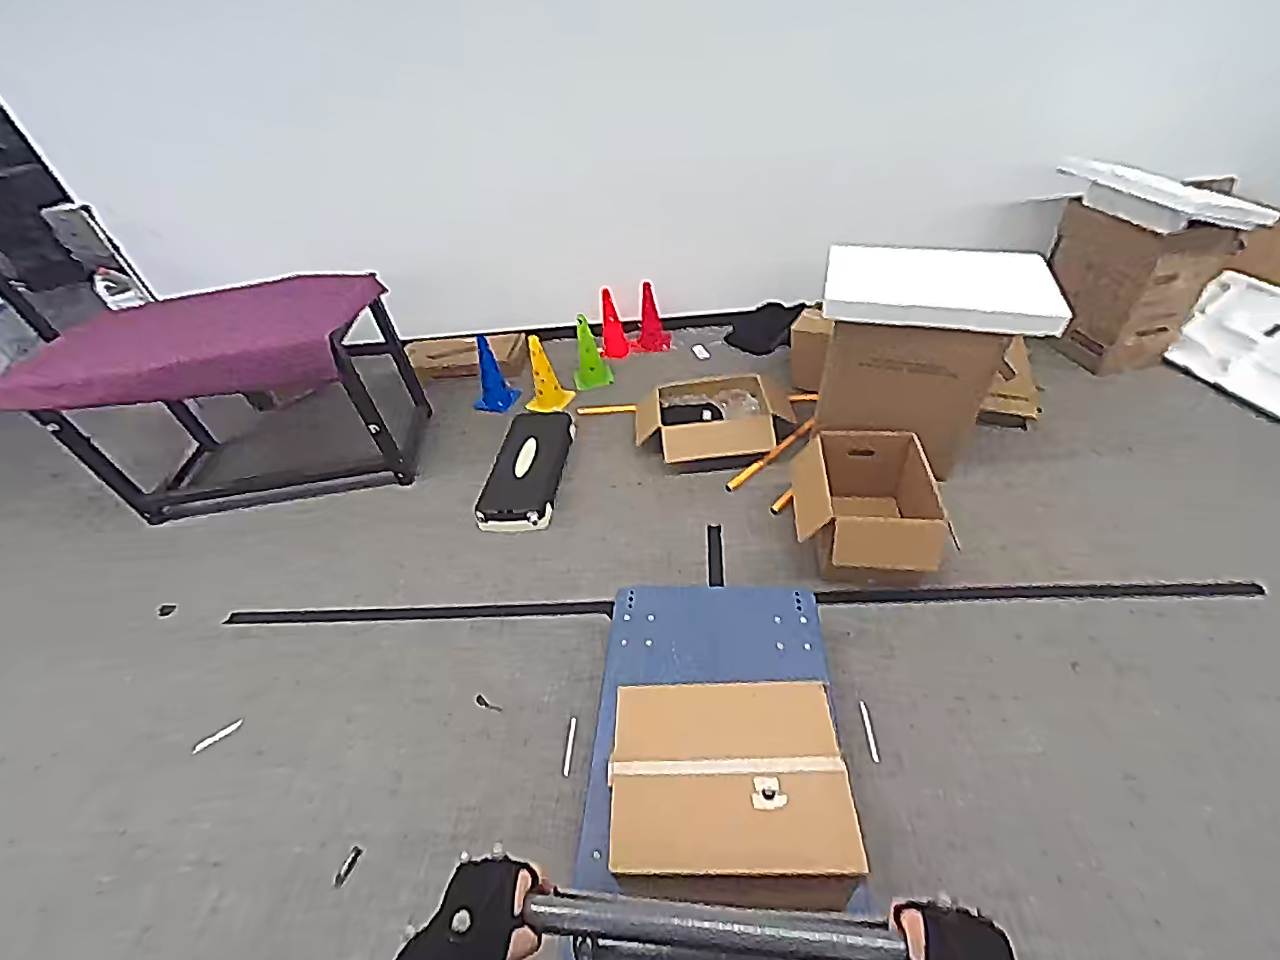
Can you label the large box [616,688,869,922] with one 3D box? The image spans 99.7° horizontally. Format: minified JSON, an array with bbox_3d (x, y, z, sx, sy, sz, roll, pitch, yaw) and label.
[{"bbox_3d":[0.169,0.631,1.051,0.408,0.320,0.320,-3,42,4],"label":"large box"}]
